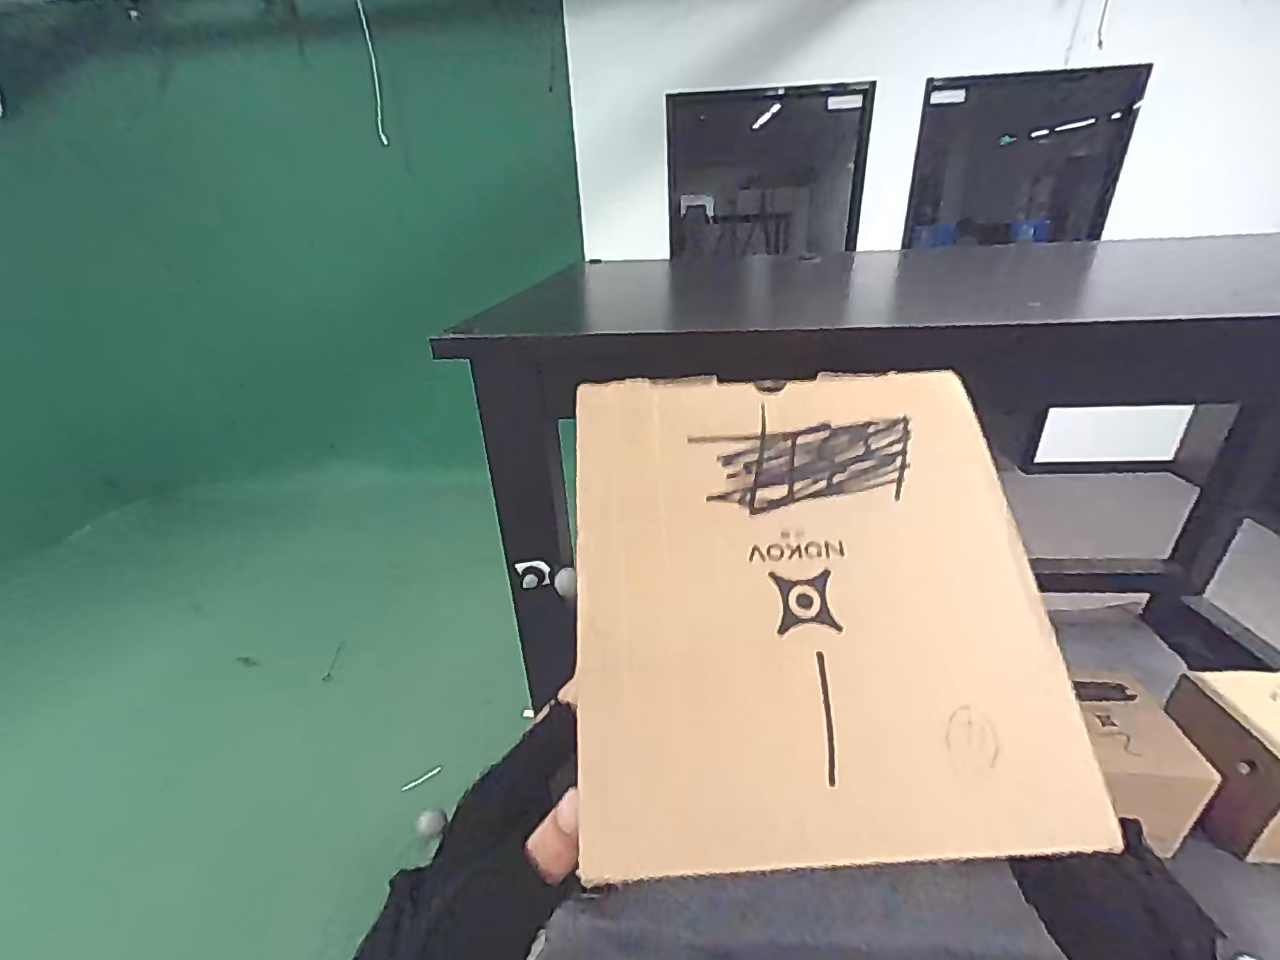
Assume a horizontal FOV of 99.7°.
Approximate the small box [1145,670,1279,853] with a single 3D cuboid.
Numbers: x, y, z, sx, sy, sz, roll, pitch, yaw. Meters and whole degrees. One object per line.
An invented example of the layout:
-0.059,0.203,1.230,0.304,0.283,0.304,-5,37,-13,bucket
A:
0.878,0.391,0.754,0.168,0.176,0.179,-1,25,4,small box
